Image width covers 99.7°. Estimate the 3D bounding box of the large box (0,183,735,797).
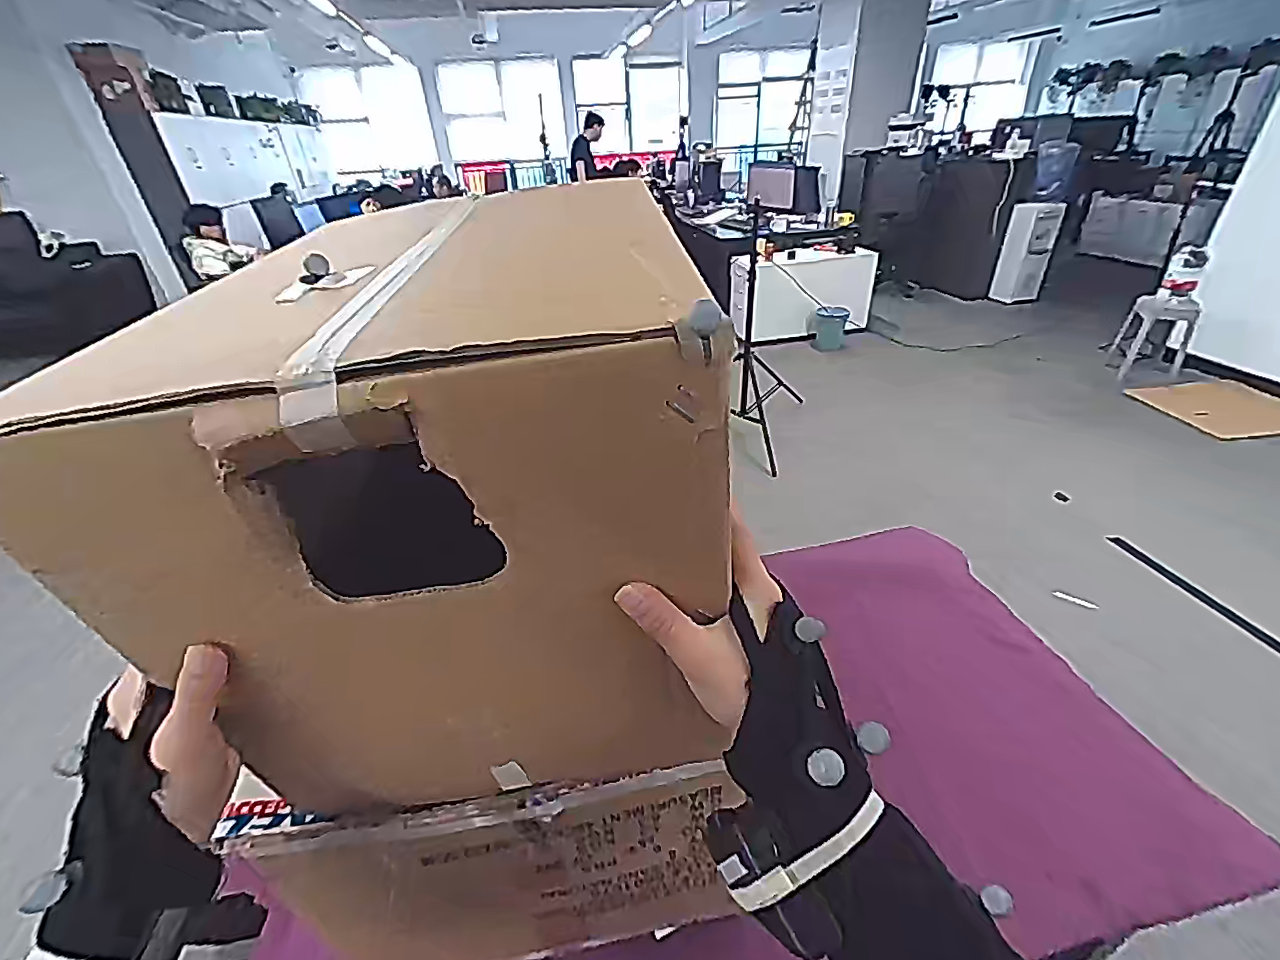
[{"bbox_3d":[-0.117,-0.029,0.453,0.320,0.320,0.408,-10,37,0],"label":"large box"}]
